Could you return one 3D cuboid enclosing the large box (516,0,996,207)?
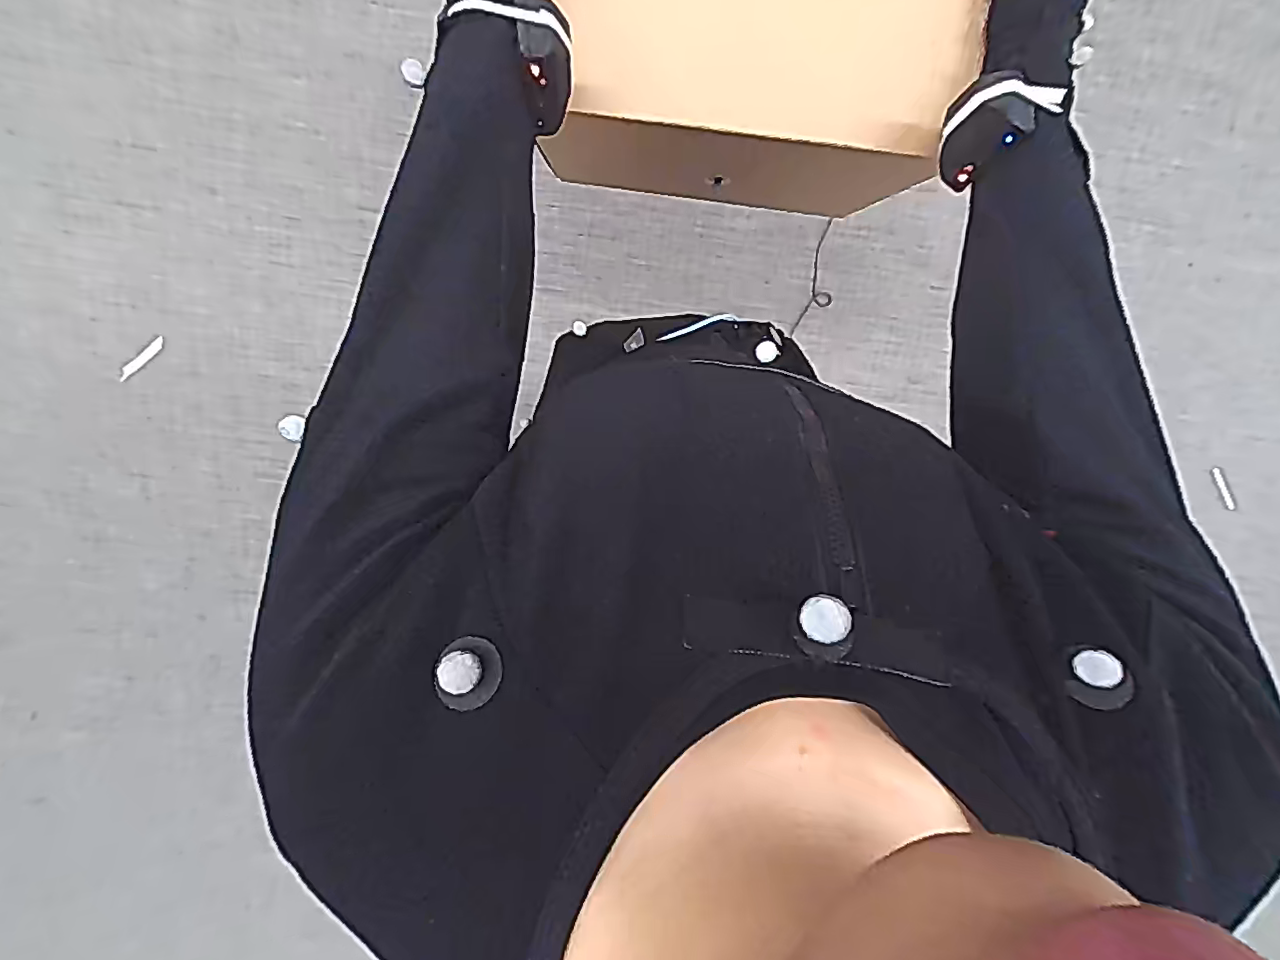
[{"bbox_3d":[0.105,-0.498,0.574,0.408,0.320,0.320,6,107,-2],"label":"large box"}]
